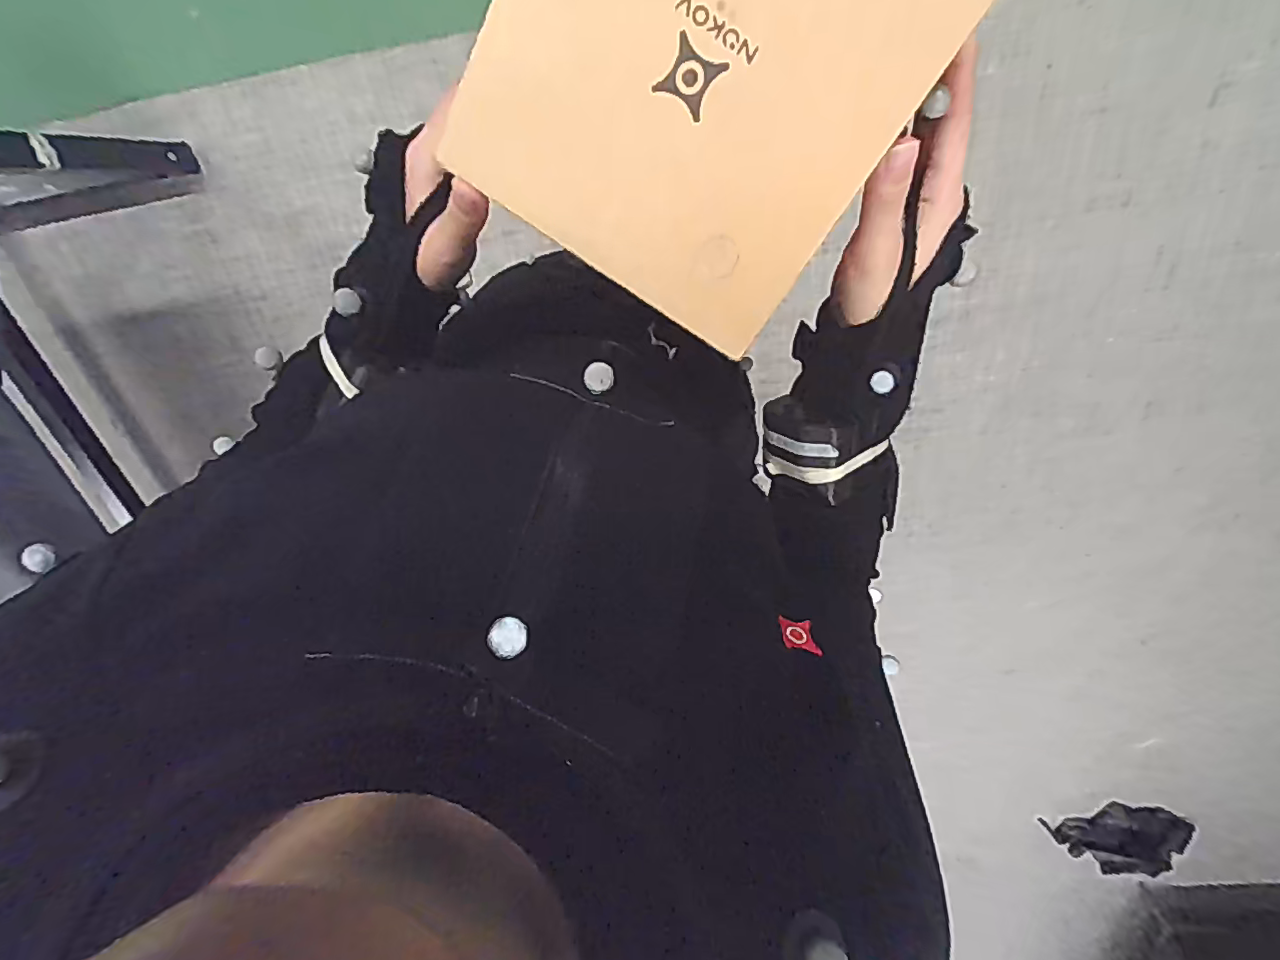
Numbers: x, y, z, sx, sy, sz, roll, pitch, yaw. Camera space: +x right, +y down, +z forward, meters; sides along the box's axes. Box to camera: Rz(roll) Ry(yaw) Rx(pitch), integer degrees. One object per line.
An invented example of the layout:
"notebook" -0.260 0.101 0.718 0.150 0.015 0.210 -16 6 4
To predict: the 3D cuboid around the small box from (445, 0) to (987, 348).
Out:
"small box" 0.034 -0.199 0.289 0.168 0.176 0.179 32 113 -7
